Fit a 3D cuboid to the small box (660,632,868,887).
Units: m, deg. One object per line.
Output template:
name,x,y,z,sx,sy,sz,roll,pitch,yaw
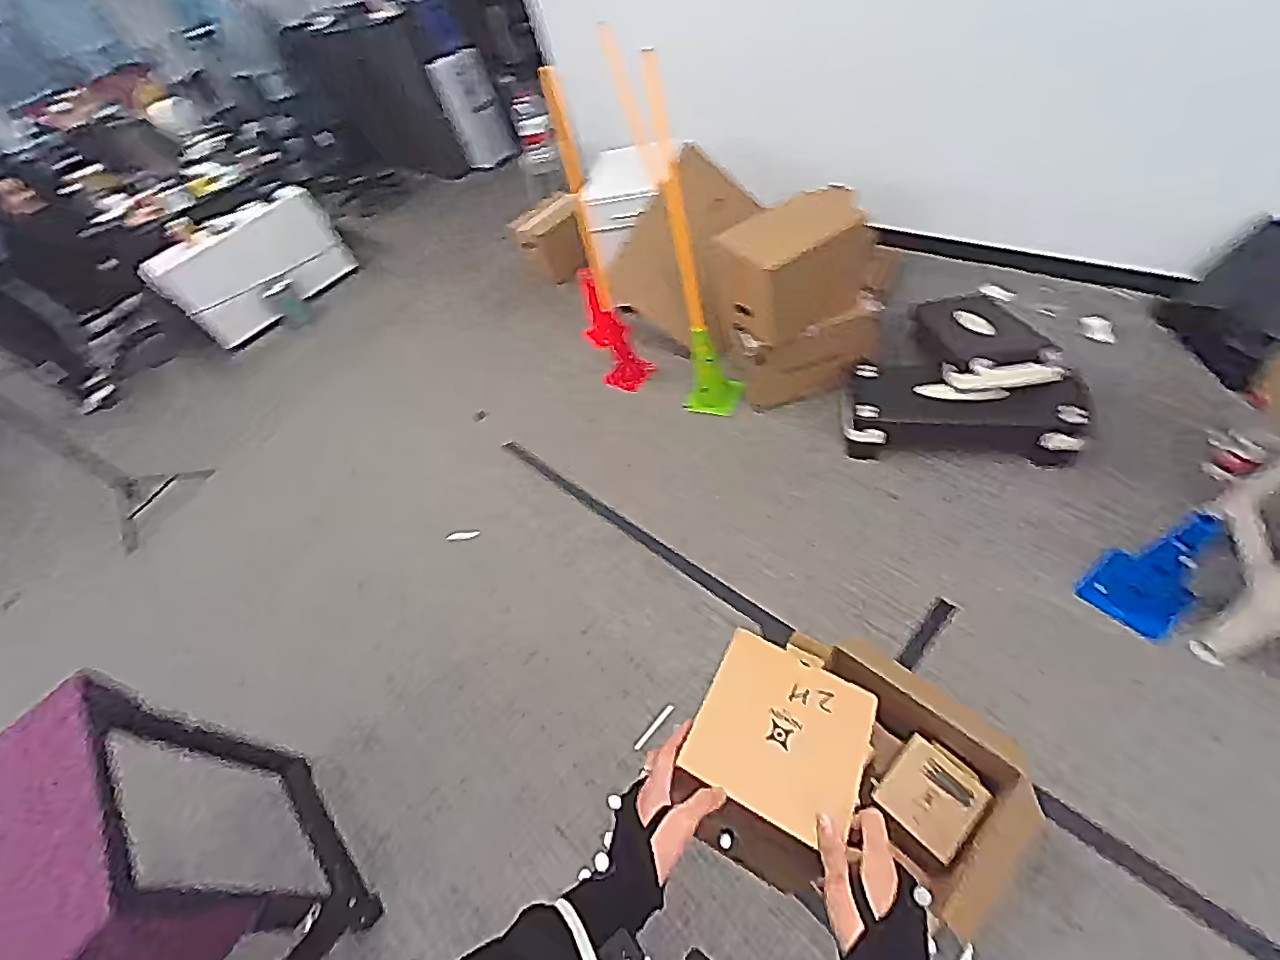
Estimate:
small box,0.132,0.316,0.614,0.168,0.176,0.179,24,46,16
